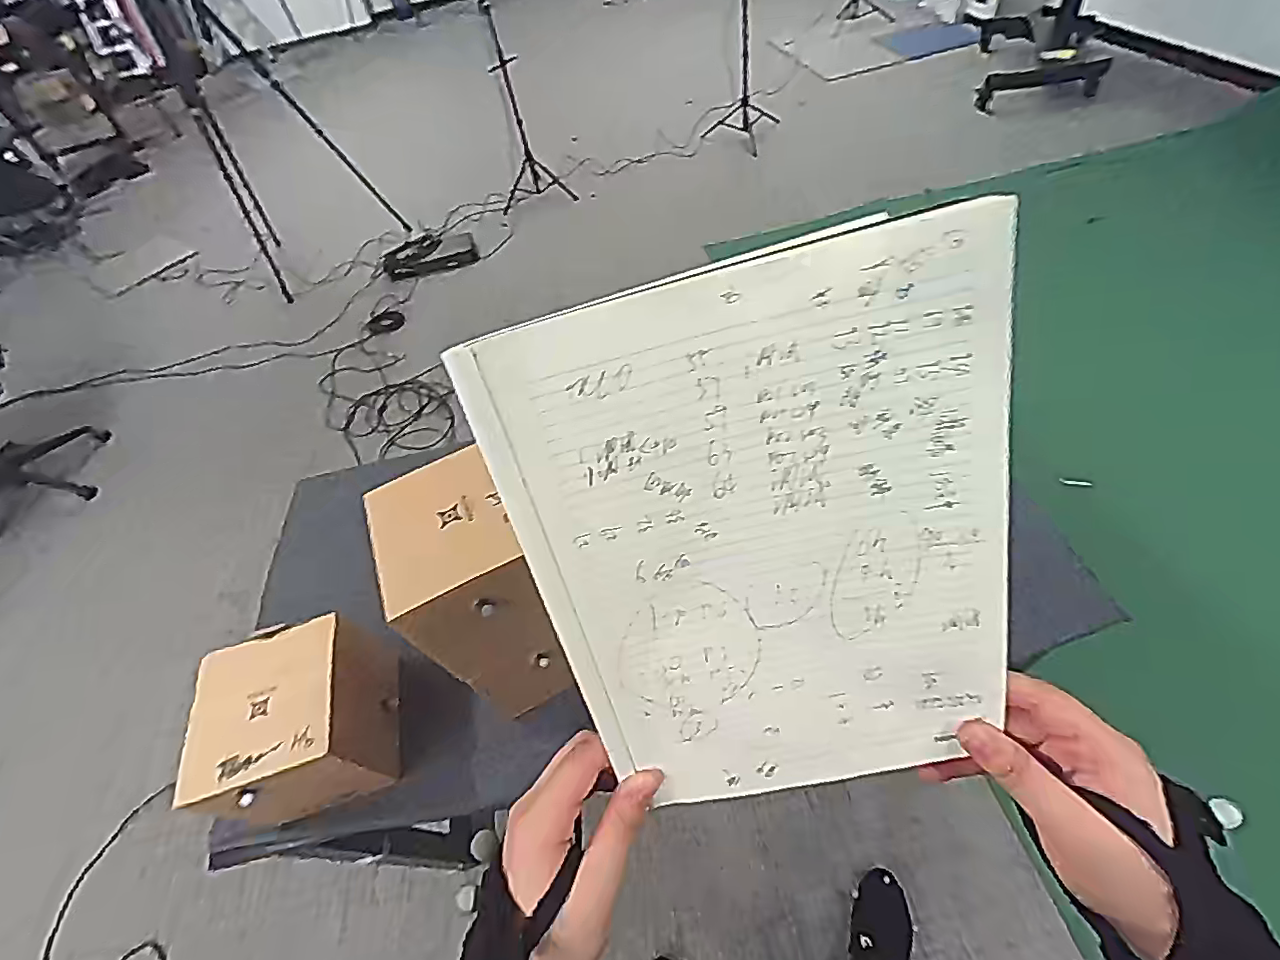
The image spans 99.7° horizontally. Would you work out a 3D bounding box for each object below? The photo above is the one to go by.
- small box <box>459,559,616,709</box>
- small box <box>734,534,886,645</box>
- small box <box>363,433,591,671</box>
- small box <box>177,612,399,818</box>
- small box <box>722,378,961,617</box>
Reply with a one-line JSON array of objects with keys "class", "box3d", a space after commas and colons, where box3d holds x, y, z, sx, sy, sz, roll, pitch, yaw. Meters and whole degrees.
[{"class": "small box", "box3d": [-0.152, 0.182, 0.738, 0.179, 0.176, 0.168, -27, 54, -11]}, {"class": "small box", "box3d": [0.212, 0.105, 0.726, 0.168, 0.176, 0.179, -3, 53, 9]}, {"class": "small box", "box3d": [-0.175, 0.085, 0.607, 0.179, 0.176, 0.168, -25, 53, -9]}, {"class": "small box", "box3d": [-0.427, 0.303, 0.693, 0.168, 0.176, 0.179, -18, 52, -4]}, {"class": "small box", "box3d": [0.196, 0.024, 0.584, 0.179, 0.176, 0.168, -16, 51, 0]}]
